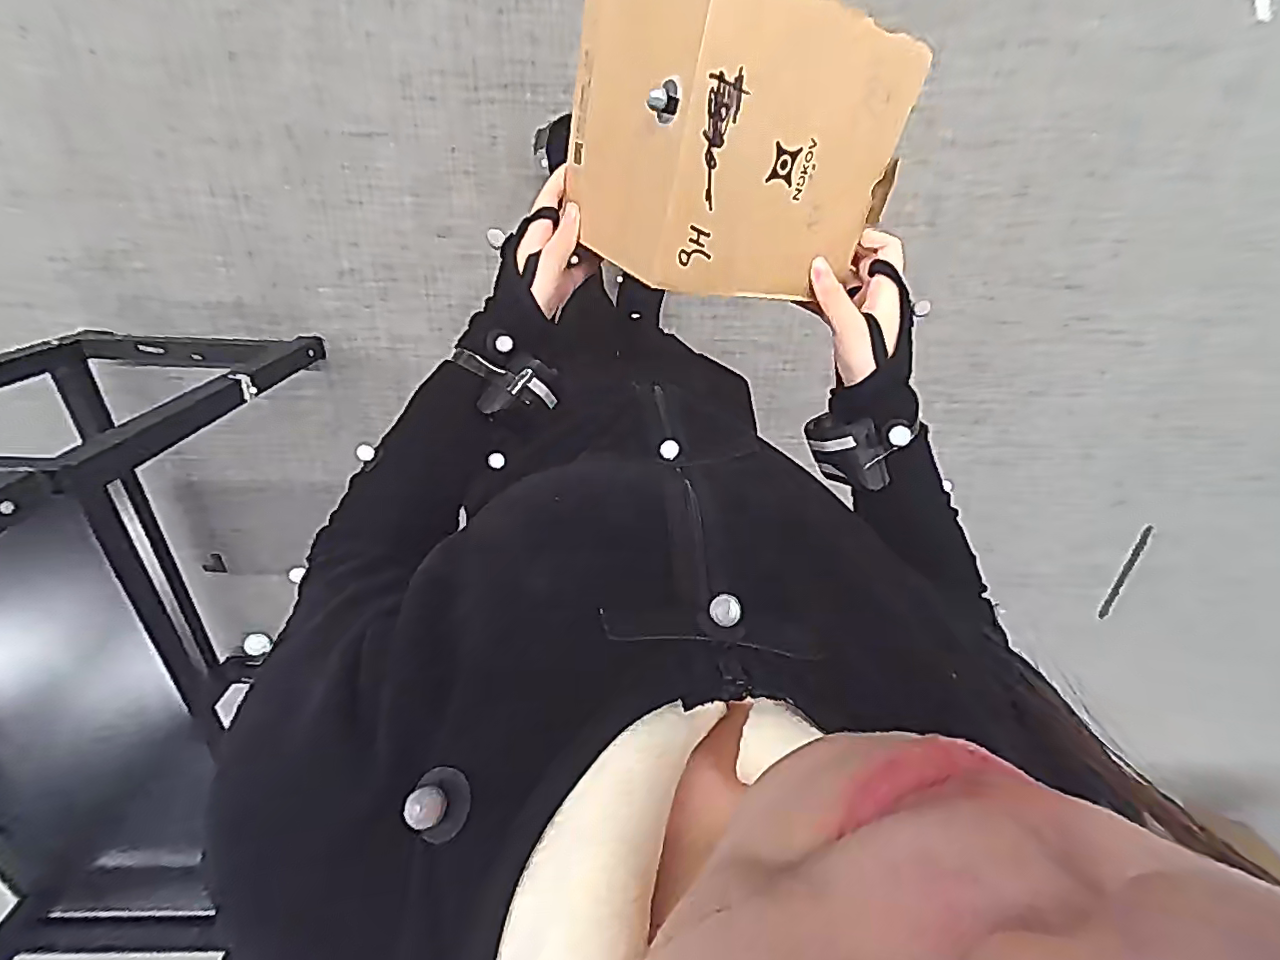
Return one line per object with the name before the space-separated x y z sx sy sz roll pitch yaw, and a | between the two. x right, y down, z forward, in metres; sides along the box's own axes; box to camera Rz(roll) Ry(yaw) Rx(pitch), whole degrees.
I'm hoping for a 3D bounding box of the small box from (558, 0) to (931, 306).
small box | 0.060 -0.240 0.398 0.179 0.176 0.168 -6 125 -31
